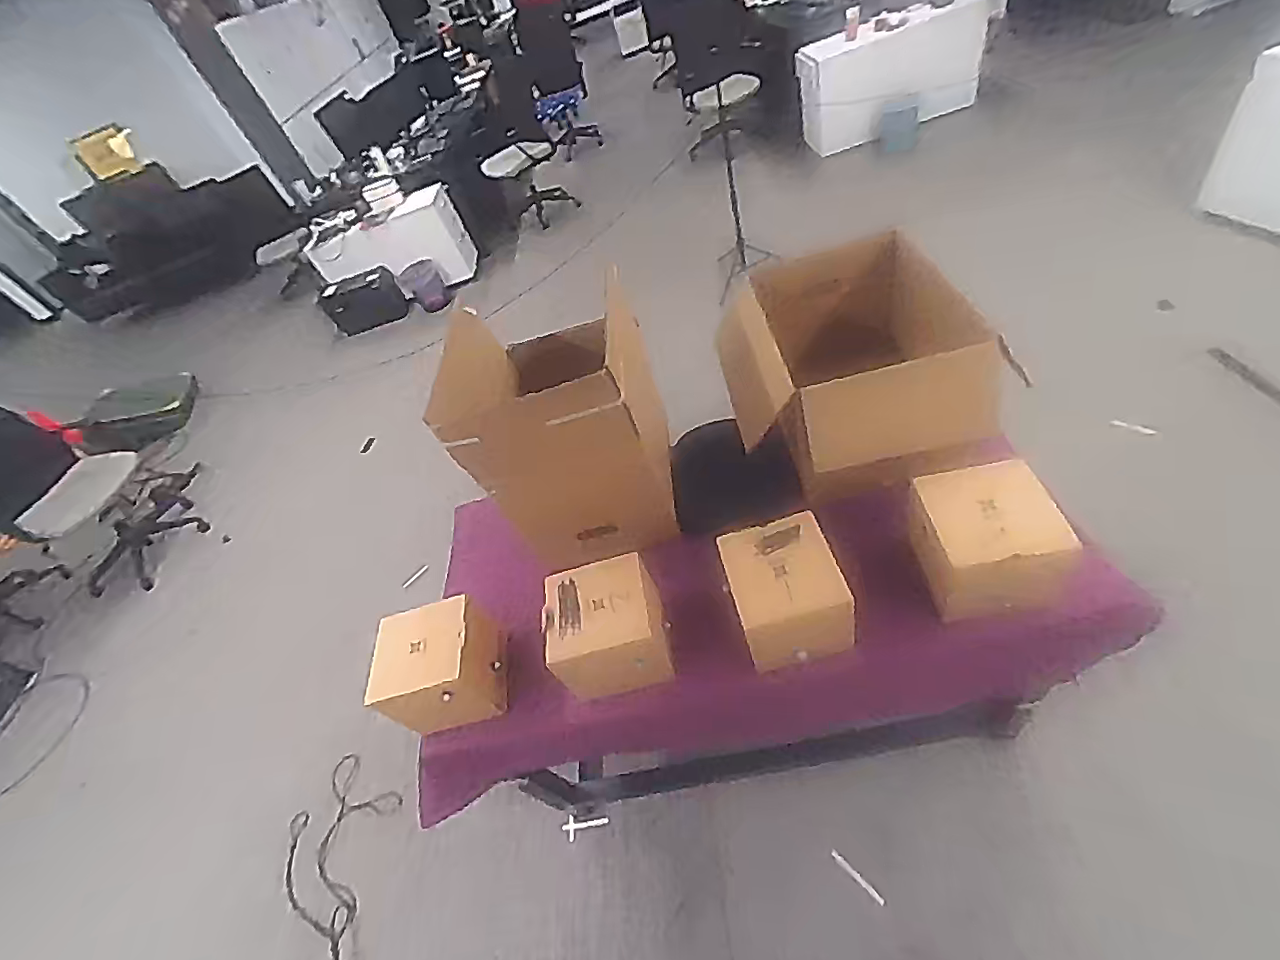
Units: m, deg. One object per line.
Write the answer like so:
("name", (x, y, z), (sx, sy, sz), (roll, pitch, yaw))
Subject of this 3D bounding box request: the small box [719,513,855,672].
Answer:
("small box", (0.240, 0.188, 0.894), (0.168, 0.176, 0.179), (-18, 47, 7))

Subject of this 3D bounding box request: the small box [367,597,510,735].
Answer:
("small box", (-0.359, 0.348, 0.996), (0.179, 0.176, 0.168), (-17, 46, 5))
